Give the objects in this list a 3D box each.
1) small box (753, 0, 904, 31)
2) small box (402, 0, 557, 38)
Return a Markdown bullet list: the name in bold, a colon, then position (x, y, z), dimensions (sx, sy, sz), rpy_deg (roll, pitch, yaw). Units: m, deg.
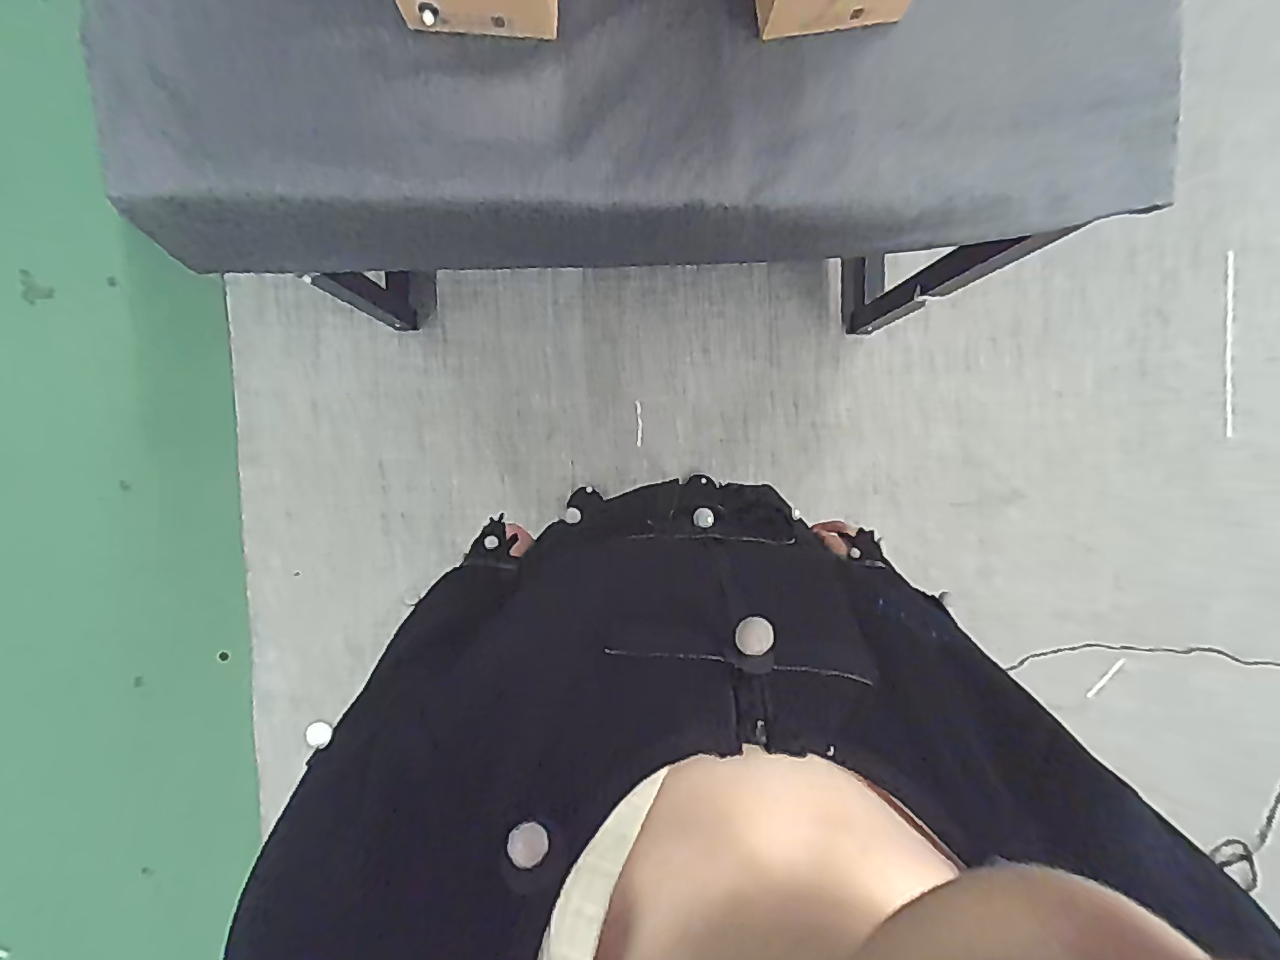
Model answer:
- **small box**: position (0.203, -0.590, 0.533), dimensions (0.168, 0.176, 0.179), rpy_deg (-9, 93, -1)
- **small box**: position (-0.170, -0.579, 0.523), dimensions (0.168, 0.176, 0.179), rpy_deg (3, 91, -2)
